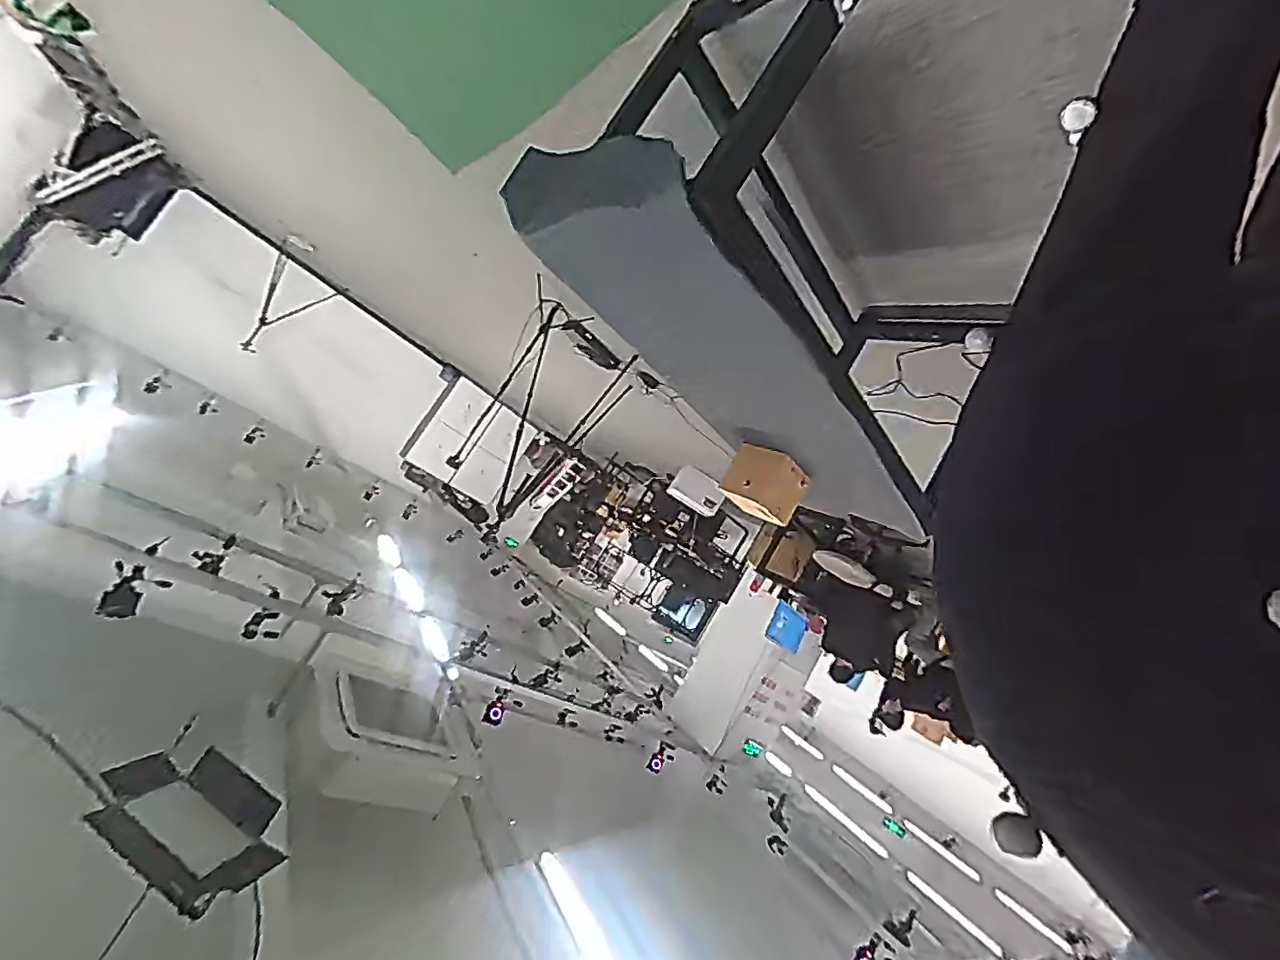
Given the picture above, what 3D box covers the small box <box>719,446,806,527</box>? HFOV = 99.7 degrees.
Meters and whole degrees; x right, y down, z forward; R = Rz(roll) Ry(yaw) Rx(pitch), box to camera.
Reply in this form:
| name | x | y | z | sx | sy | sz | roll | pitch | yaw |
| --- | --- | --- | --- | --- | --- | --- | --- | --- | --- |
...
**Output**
| name | x | y | z | sx | sy | sz | roll | pitch | yaw |
| --- | --- | --- | --- | --- | --- | --- | --- | --- | --- |
| small box | 0.381 | 0.015 | 1.646 | 0.168 | 0.176 | 0.179 | 37 | 171 | -37 |
